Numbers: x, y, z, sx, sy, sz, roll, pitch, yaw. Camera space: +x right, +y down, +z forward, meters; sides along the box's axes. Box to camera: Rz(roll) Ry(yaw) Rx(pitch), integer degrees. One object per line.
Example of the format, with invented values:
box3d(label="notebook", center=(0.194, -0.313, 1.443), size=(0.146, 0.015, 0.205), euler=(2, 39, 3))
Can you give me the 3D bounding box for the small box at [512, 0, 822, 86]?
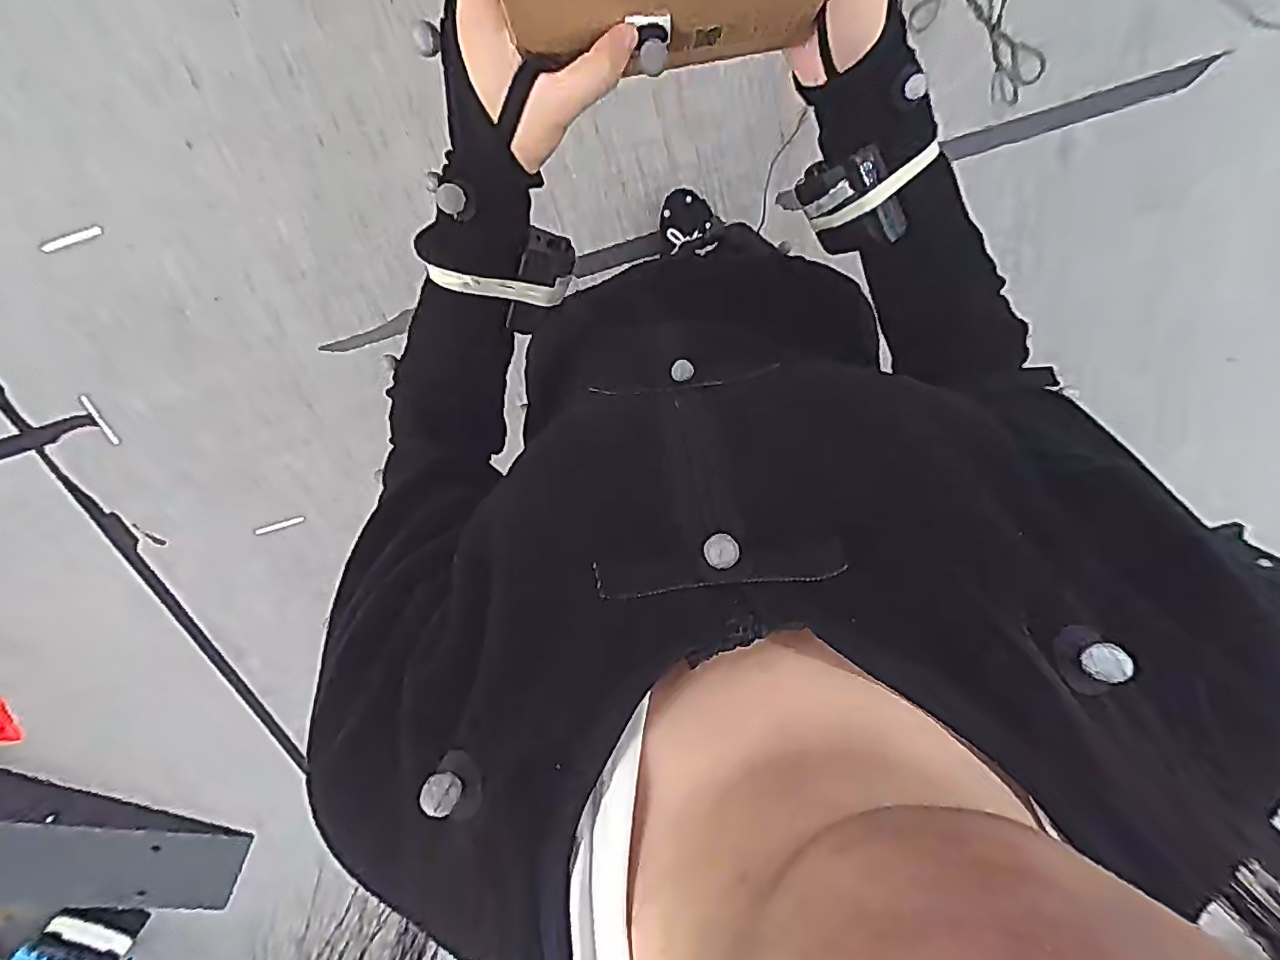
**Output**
box3d(label="small box", center=(0.006, -0.311, 0.222), size=(0.168, 0.176, 0.179), euler=(-11, 100, -1))
